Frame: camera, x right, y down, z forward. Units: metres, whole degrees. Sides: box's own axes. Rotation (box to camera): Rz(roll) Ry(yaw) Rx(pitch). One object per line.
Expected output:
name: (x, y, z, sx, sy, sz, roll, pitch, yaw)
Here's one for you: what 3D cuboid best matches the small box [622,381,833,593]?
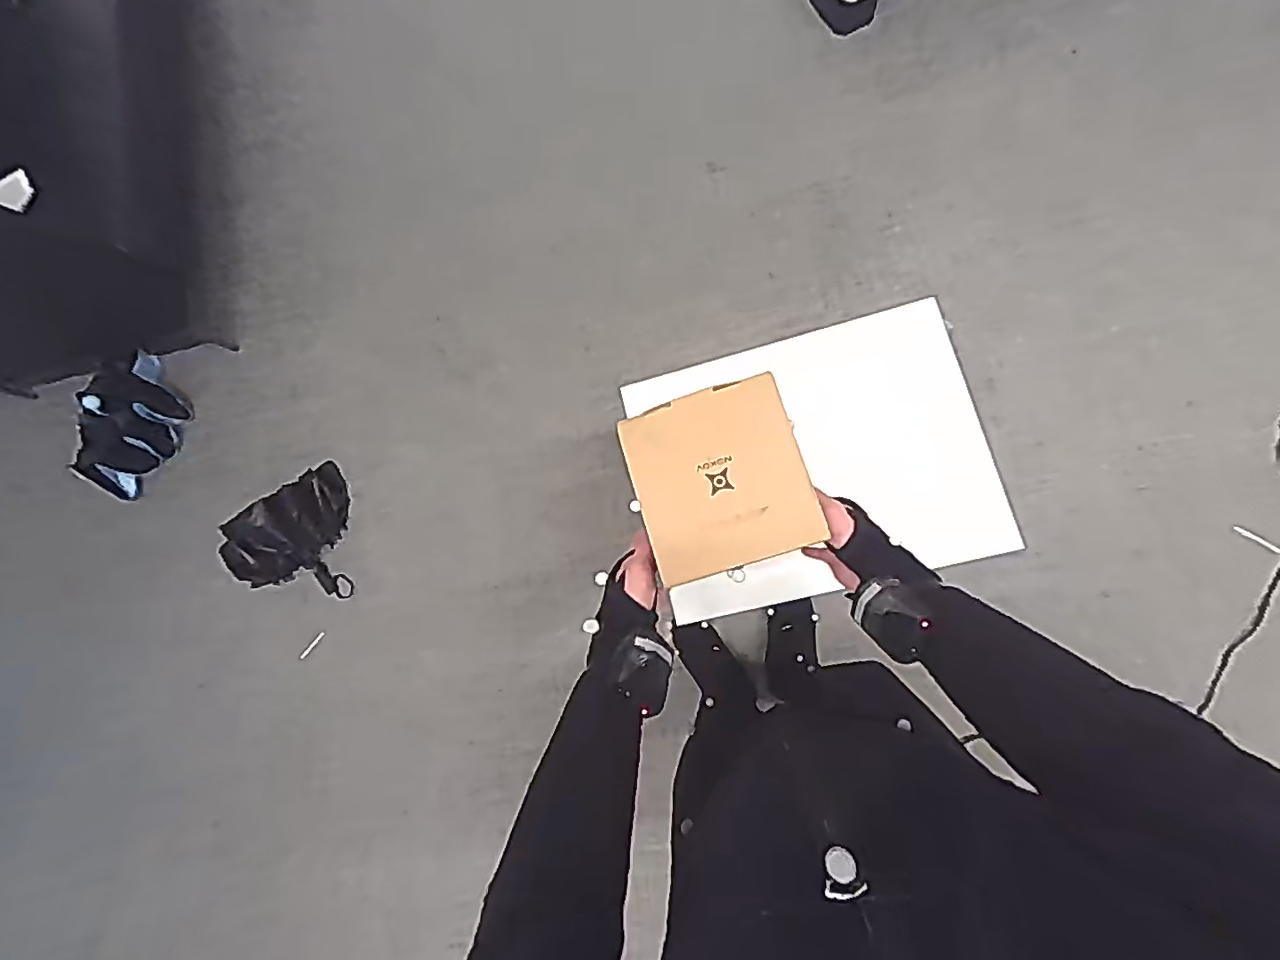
small box: (0.094, 0.018, 0.603, 0.168, 0.176, 0.179, -18, 79, 8)
